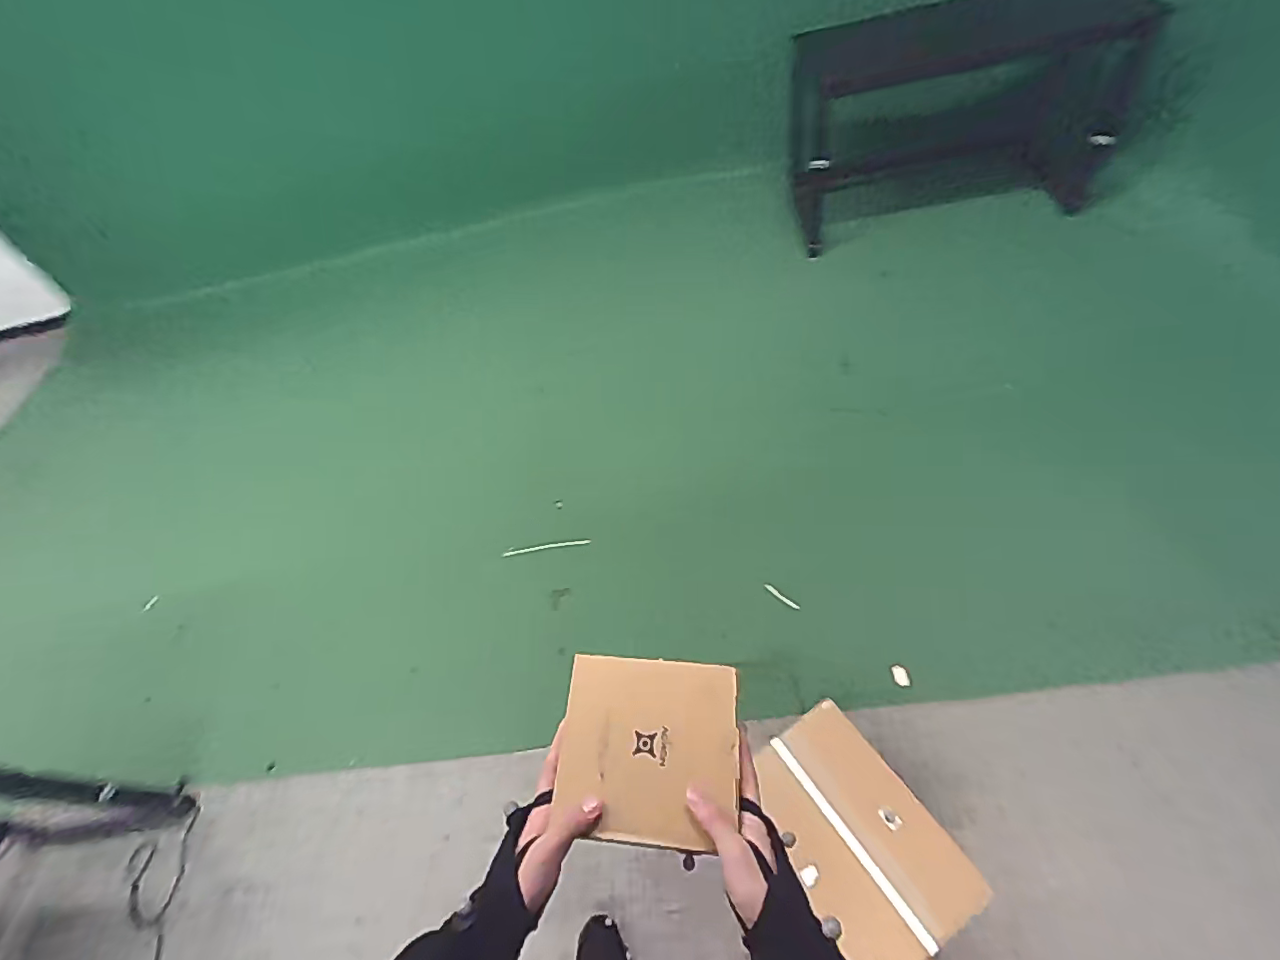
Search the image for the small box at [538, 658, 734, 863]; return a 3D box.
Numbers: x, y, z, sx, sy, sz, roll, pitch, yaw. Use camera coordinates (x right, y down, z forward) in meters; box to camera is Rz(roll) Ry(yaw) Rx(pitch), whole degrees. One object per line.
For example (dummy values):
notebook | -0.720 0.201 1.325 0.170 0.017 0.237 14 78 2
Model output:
small box | 0.006 0.305 0.587 0.179 0.176 0.168 2 55 6
